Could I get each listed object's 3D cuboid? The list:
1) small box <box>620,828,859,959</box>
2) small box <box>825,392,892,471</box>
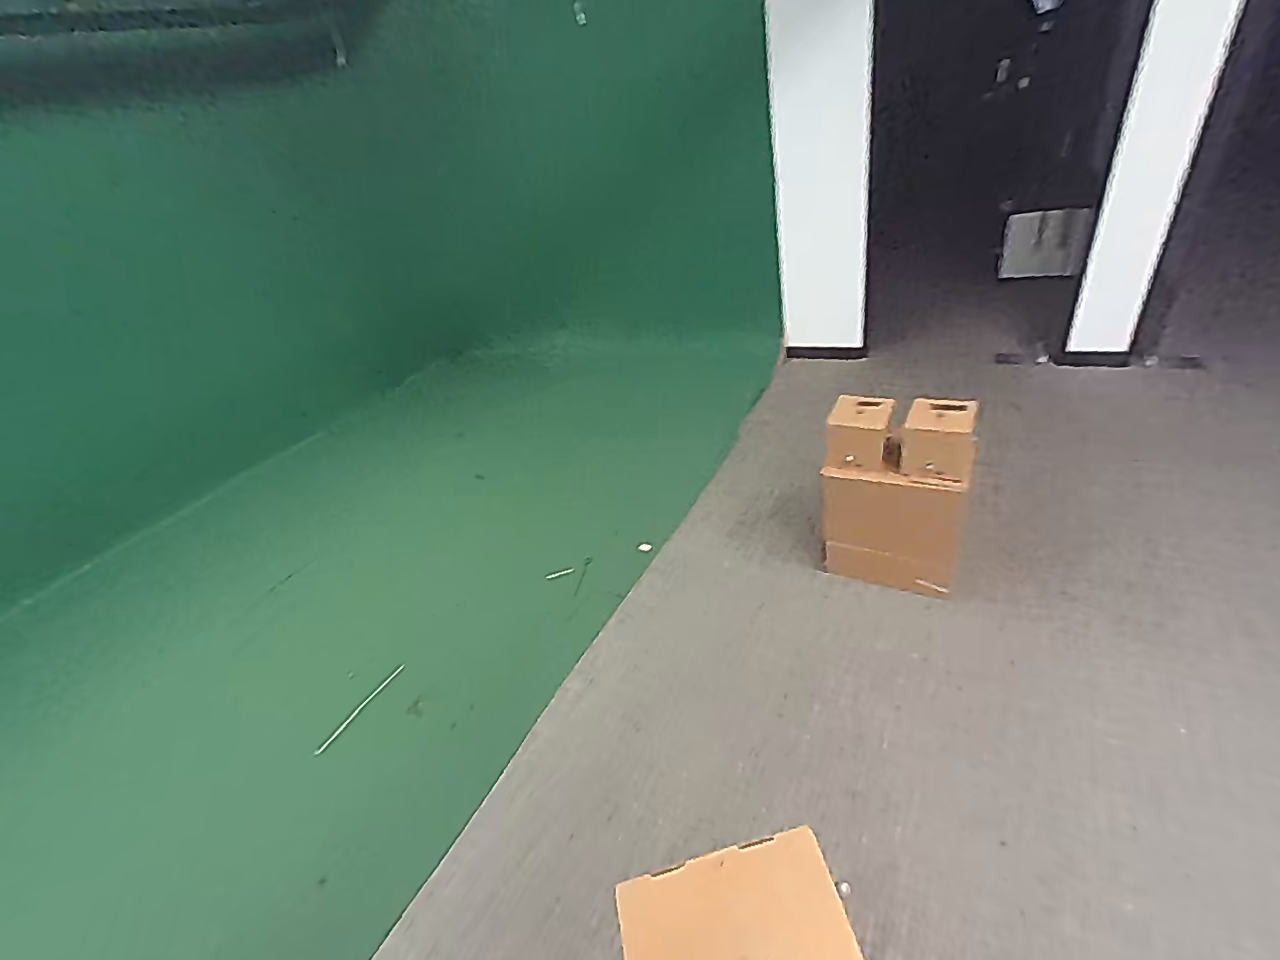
[{"bbox_3d":[0.093,0.417,0.427,0.168,0.176,0.179,-16,39,-1],"label":"small box"},{"bbox_3d":[0.689,-0.156,1.716,0.168,0.176,0.179,12,45,30],"label":"small box"}]
